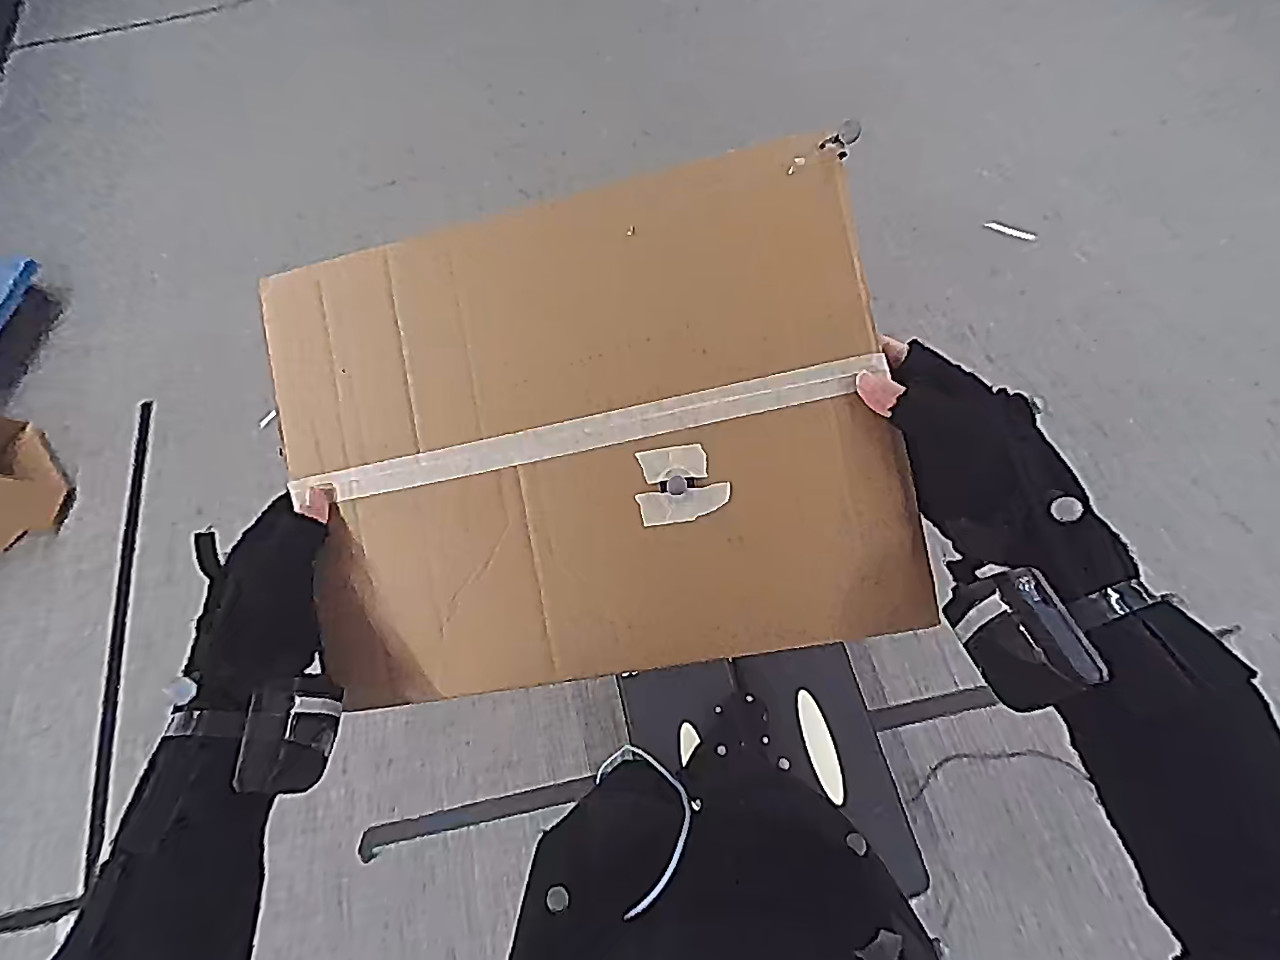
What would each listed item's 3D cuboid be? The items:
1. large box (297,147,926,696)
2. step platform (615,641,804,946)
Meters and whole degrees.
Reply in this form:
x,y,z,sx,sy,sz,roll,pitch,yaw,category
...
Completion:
x,y,z,sx,sy,sz,roll,pitch,yaw,category
-0.019,-0.027,0.519,0.408,0.320,0.320,-11,89,8,large box
0.145,0.672,1.297,0.286,0.204,0.684,-16,67,2,step platform
